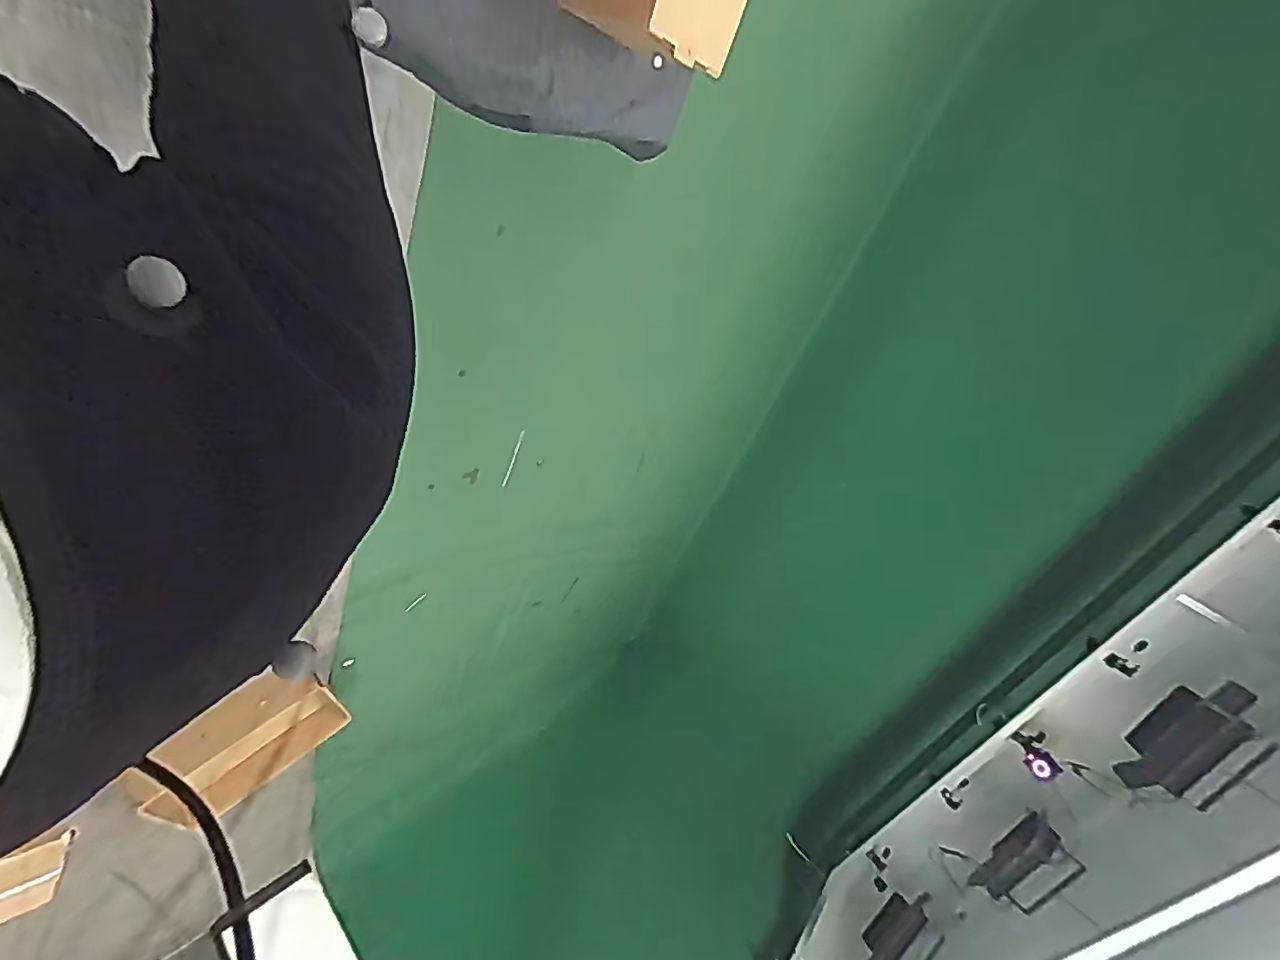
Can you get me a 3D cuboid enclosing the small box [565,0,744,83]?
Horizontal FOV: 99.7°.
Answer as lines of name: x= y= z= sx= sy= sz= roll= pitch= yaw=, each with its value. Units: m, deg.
small box: x=0.023 y=-0.644 z=0.678 sx=0.168 sy=0.176 sz=0.179 roll=-20 pitch=139 yaw=-49
